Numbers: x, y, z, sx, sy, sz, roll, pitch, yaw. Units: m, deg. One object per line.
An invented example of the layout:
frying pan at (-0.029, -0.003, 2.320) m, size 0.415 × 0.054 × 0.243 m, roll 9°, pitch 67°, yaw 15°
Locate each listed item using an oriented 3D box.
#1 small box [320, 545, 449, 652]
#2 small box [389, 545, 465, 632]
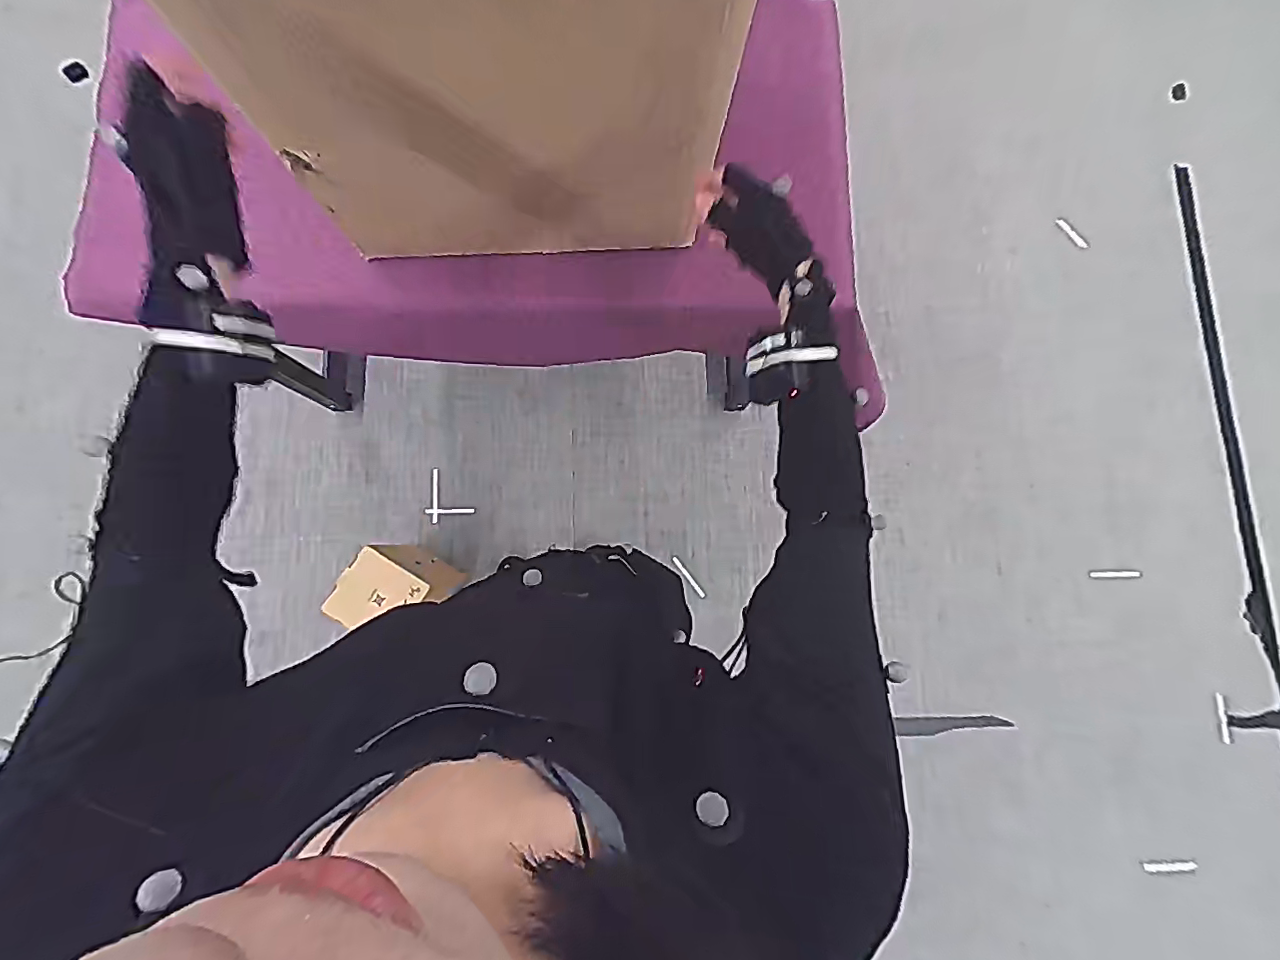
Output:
small box at (-0.573, 0.266, 1.237) m, size 0.179 × 0.176 × 0.168 m, roll 32°, pitch 82°, yaw 2°
small box at (-0.586, 0.285, 1.399) m, size 0.179 × 0.176 × 0.168 m, roll 30°, pitch 82°, yaw 0°
